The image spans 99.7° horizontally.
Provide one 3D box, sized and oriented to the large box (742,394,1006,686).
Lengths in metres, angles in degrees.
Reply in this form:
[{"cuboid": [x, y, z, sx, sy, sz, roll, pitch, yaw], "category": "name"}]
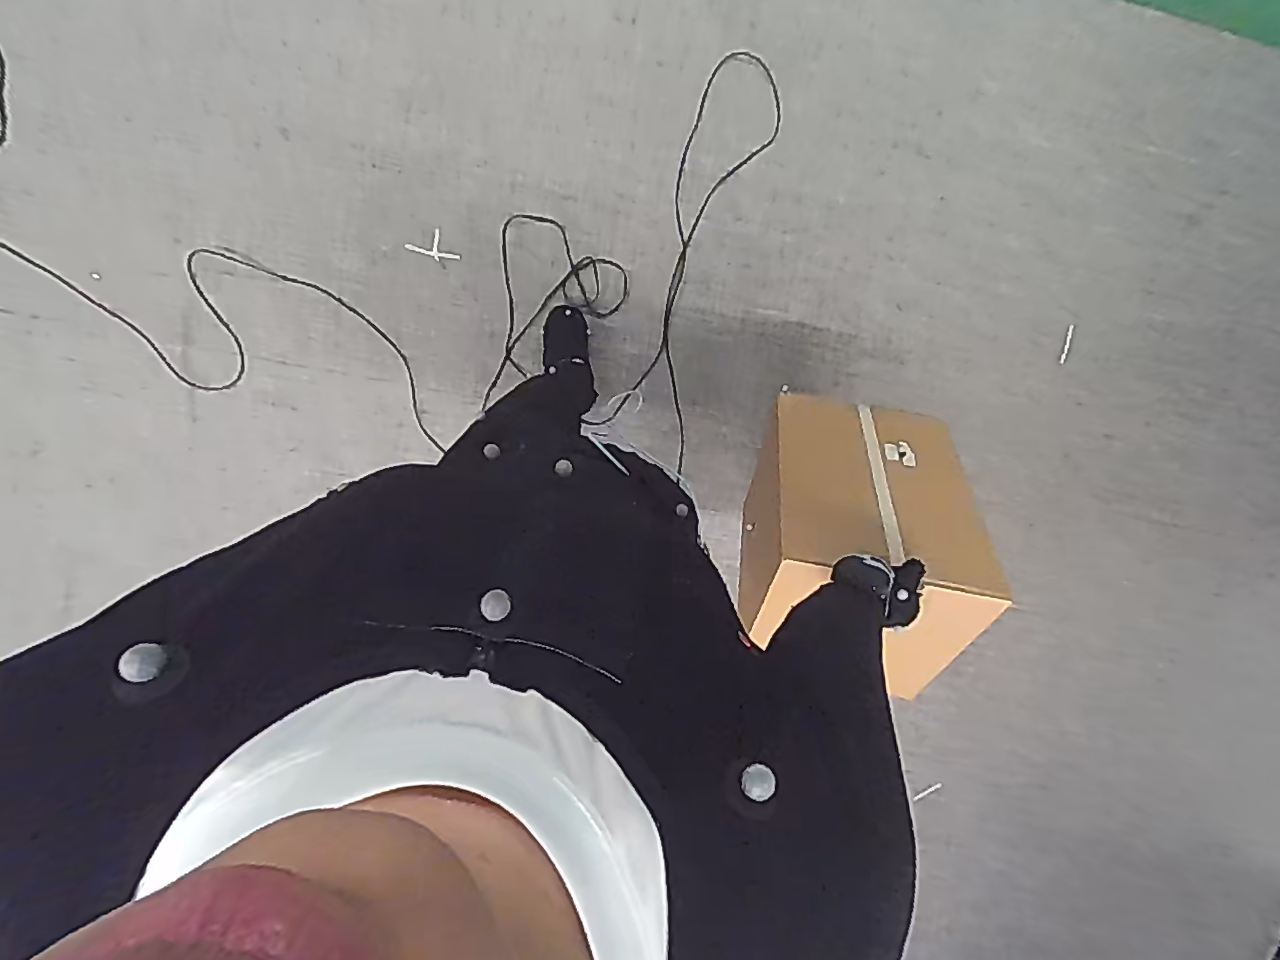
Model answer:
[{"cuboid": [0.369, 0.101, 0.985, 0.320, 0.408, 0.320, 11, 134, 3], "category": "large box"}]
